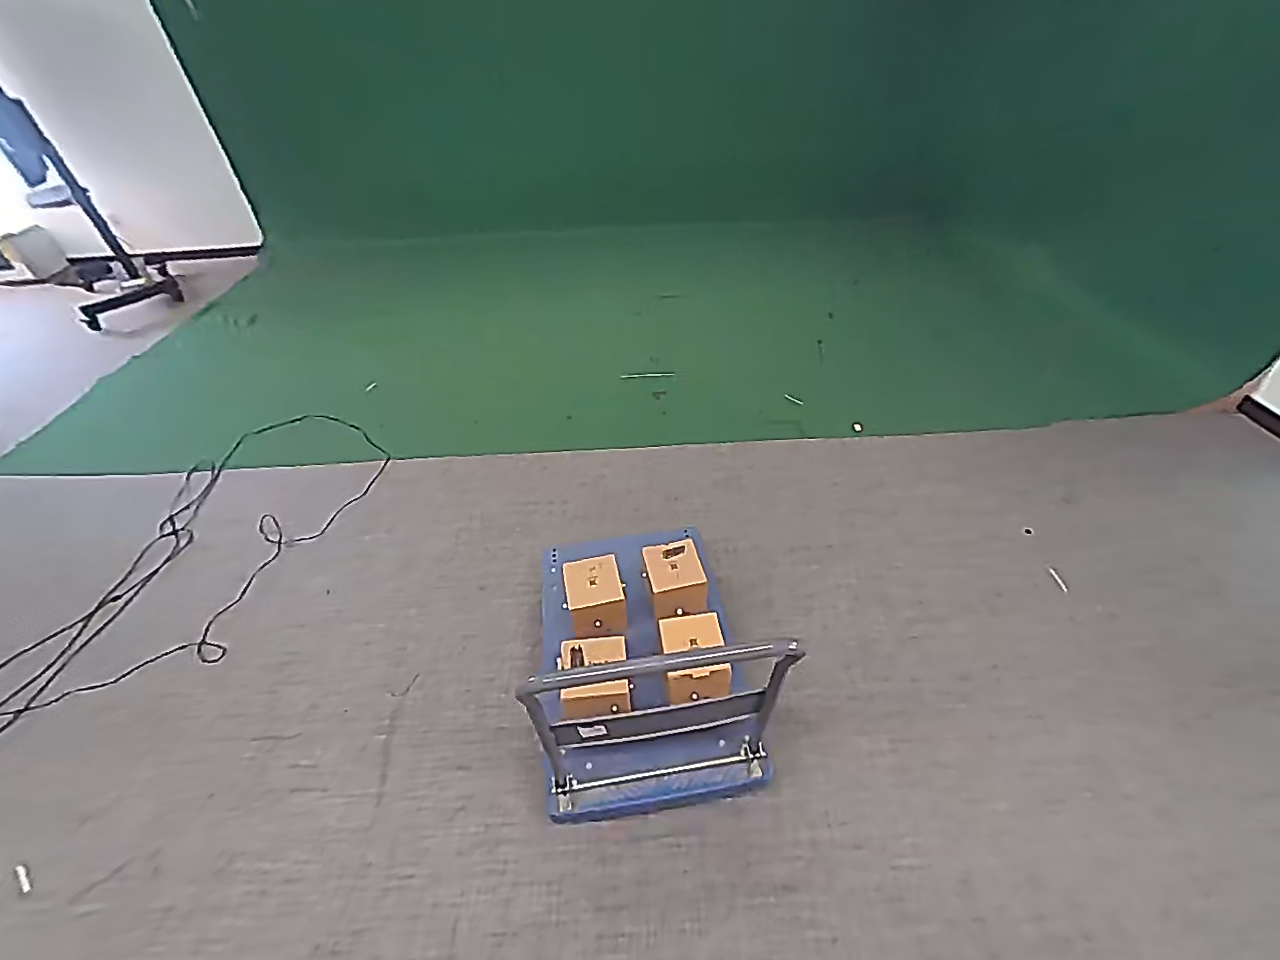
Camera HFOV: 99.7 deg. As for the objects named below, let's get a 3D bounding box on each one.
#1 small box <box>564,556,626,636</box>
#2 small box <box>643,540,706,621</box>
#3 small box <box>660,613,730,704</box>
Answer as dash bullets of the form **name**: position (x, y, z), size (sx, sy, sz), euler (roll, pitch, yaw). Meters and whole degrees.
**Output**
- **small box**: position (-0.139, 0.368, 1.689), size (0.168, 0.176, 0.179), euler (-10, 43, -8)
- **small box**: position (0.106, 0.322, 1.722), size (0.168, 0.176, 0.179), euler (-11, 44, -6)
- **small box**: position (0.148, 0.504, 1.525), size (0.168, 0.176, 0.179), euler (-7, 43, -4)
